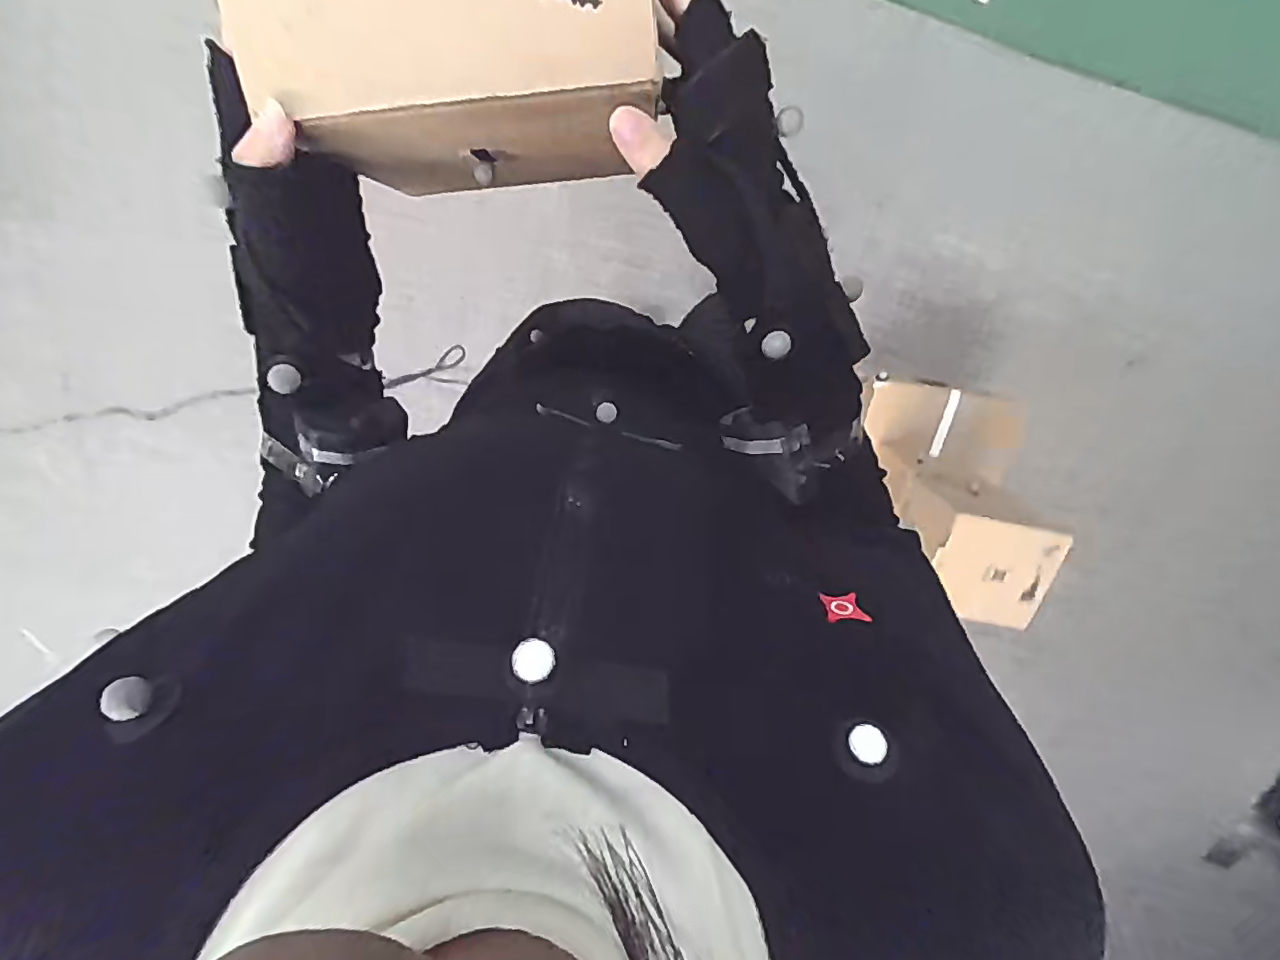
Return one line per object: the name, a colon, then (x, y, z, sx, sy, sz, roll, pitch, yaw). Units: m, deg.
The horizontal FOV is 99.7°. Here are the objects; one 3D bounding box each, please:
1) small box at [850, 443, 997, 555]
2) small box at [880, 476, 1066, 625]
small box: (0.528, 0.044, 1.039, 0.168, 0.176, 0.179, 12, 112, -1)
small box: (0.526, 0.106, 0.888, 0.179, 0.176, 0.168, 13, 111, -1)
